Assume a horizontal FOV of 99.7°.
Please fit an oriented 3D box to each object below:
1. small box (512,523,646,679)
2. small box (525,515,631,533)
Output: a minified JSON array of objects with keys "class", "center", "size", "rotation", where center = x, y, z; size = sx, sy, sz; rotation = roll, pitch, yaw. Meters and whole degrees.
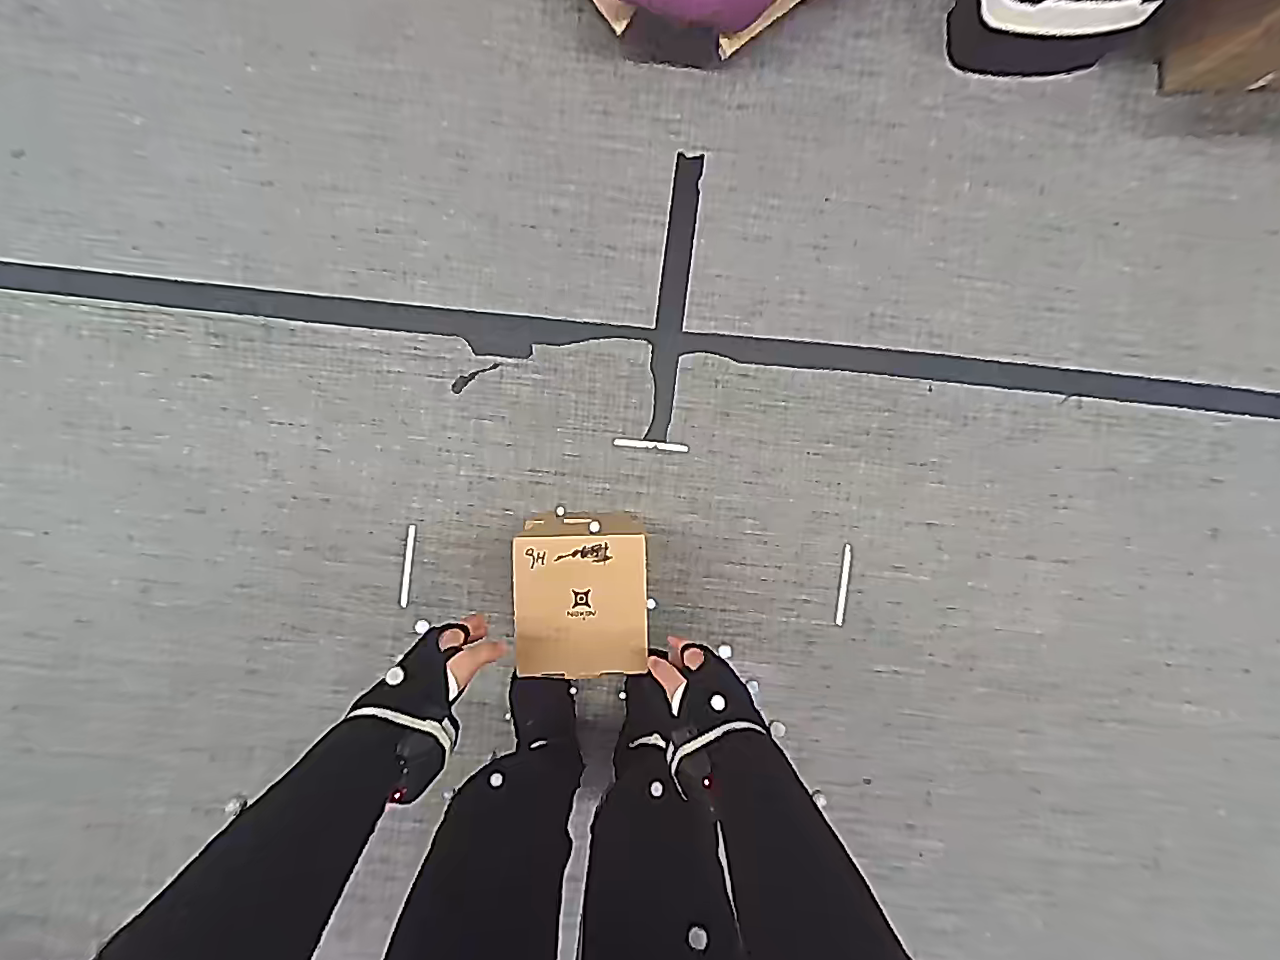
[{"class":"small box","center":[-0.075,0.156,0.743],"size":[0.168,0.176,0.179],"rotation":[-1,91,-1]},{"class":"small box","center":[-0.097,0.150,0.907],"size":[0.168,0.176,0.179],"rotation":[0,92,-1]}]
